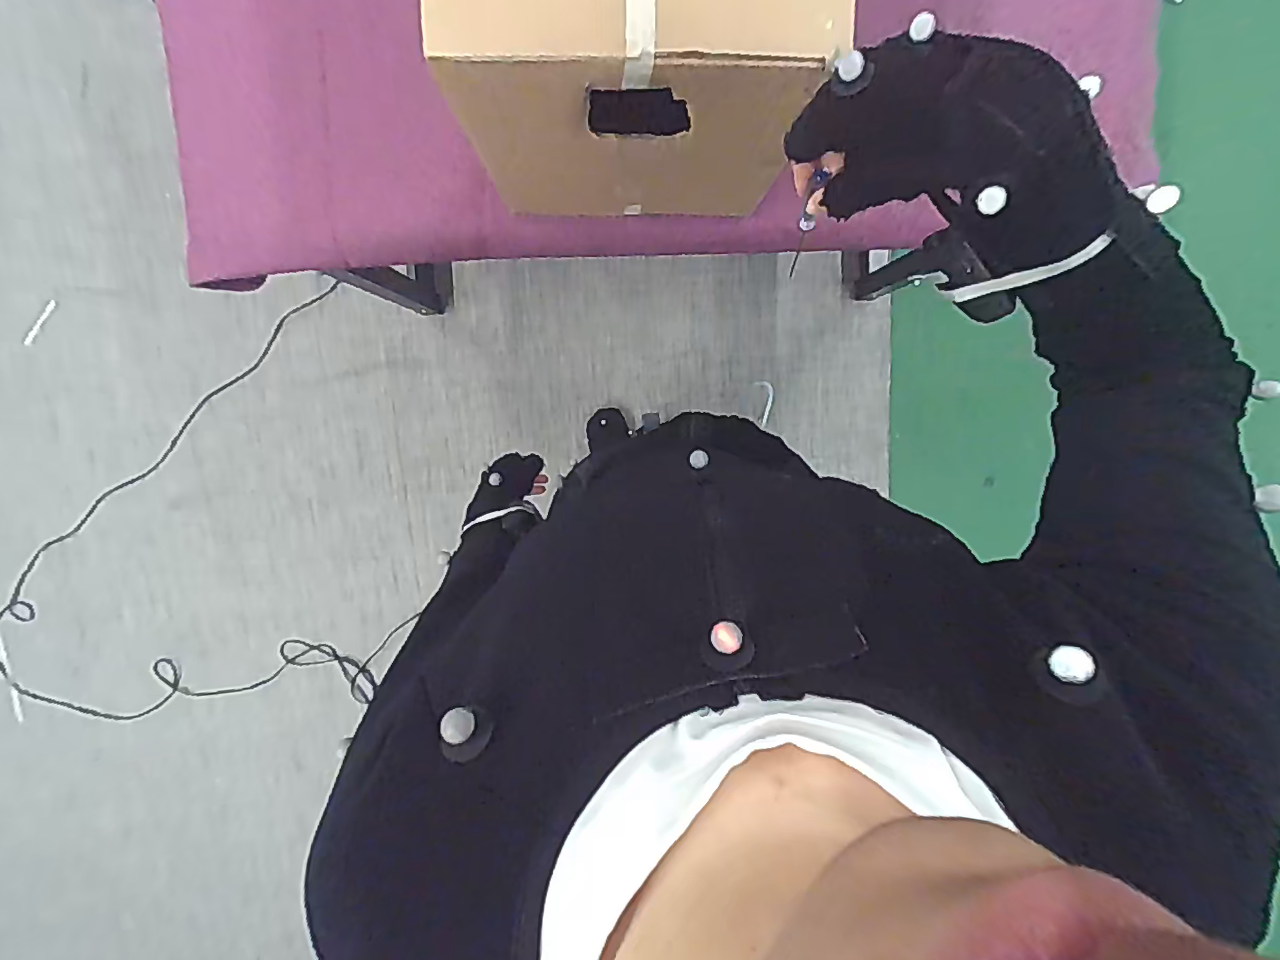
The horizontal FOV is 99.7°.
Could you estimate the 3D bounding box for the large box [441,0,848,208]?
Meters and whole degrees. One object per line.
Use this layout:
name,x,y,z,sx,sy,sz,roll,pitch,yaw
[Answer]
large box,-0.003,-0.531,0.528,0.320,0.320,0.408,0,99,-1
